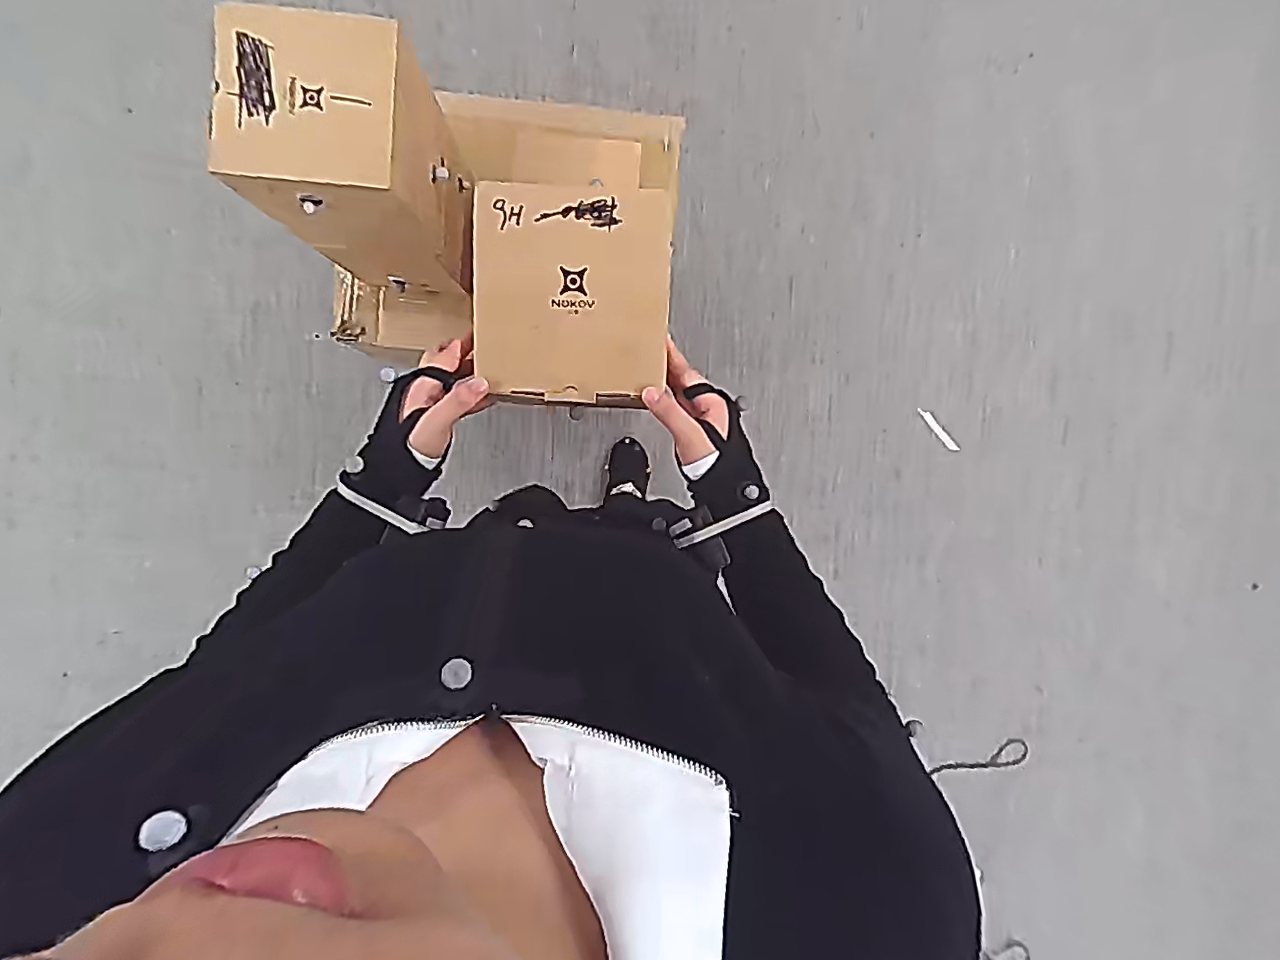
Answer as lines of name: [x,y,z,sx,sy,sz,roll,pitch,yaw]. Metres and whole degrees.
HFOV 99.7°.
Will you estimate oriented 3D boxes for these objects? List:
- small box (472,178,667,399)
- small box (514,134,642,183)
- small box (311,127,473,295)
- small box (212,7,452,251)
small box: [-0.061,-0.172,0.538,0.168,0.176,0.179,0,96,-2]
small box: [-0.087,-0.357,0.782,0.168,0.176,0.179,4,92,0]
small box: [-0.339,-0.383,0.775,0.168,0.176,0.179,4,93,-2]
small box: [-0.330,-0.376,0.611,0.179,0.176,0.168,4,92,-3]
